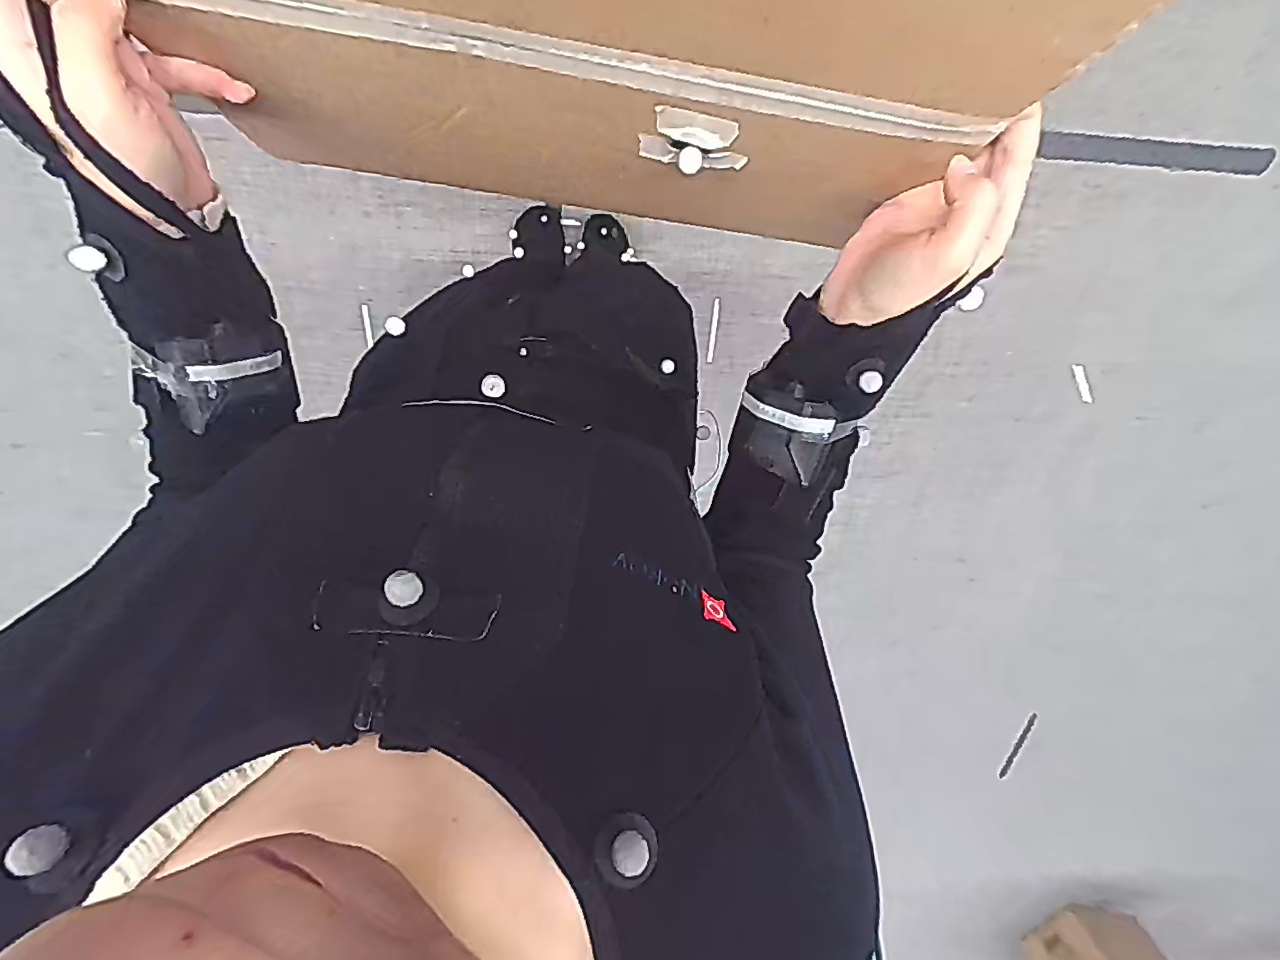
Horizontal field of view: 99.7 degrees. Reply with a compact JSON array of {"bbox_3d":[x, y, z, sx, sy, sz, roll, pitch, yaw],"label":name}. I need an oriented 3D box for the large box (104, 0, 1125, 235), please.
[{"bbox_3d":[-0.021,-0.340,0.225,0.408,0.320,0.320,6,94,-5],"label":"large box"}]
